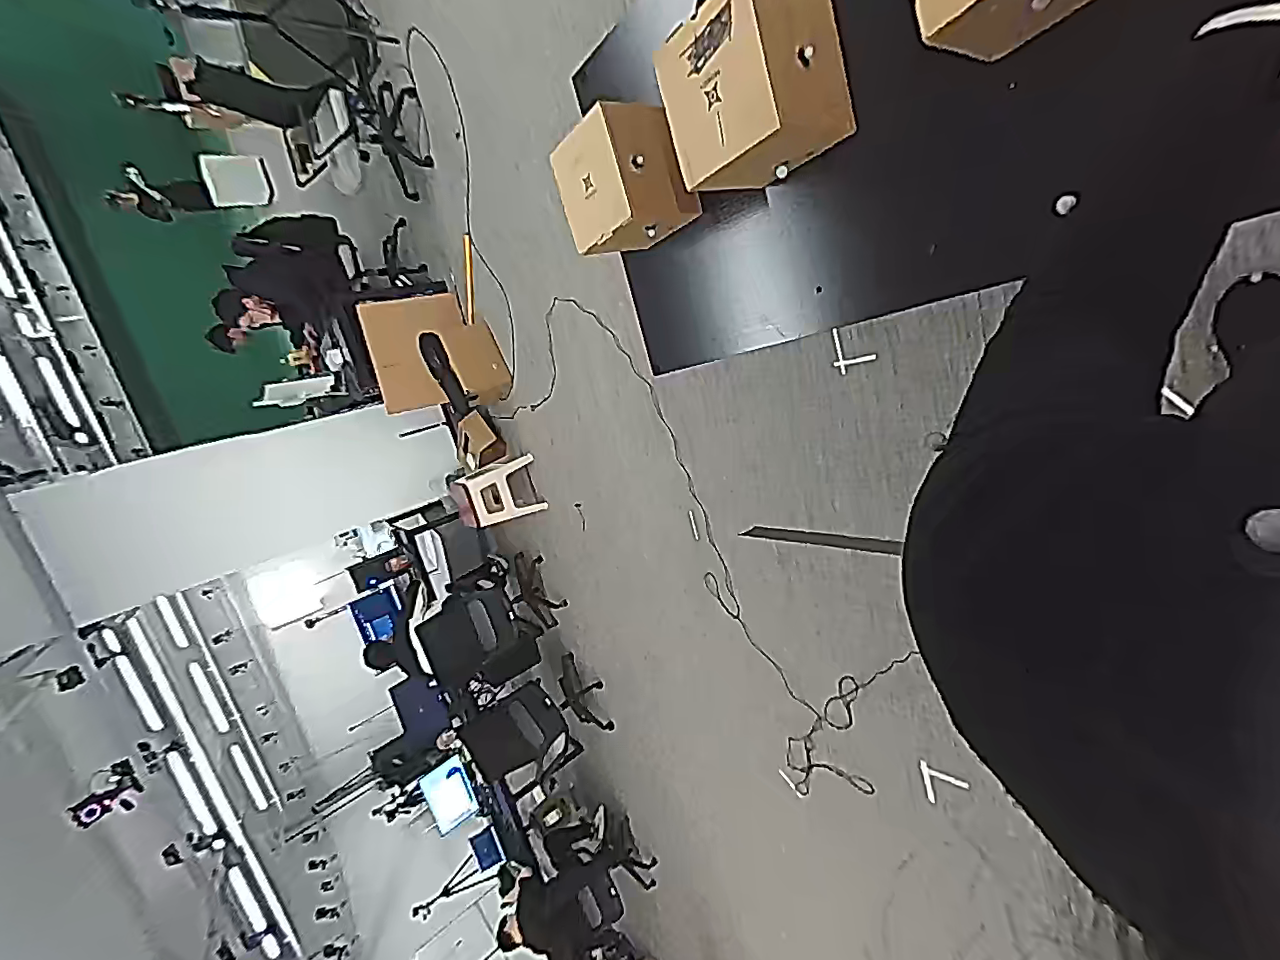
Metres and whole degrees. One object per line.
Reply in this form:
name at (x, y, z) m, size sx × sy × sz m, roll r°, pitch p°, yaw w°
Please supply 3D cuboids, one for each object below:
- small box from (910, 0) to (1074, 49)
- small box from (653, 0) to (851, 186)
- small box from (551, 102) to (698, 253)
small box at (0.341, -0.509, 0.456) m, size 0.179 × 0.176 × 0.168 m, roll -8°, pitch 103°, yaw 55°
small box at (0.149, -0.512, 0.711) m, size 0.168 × 0.176 × 0.179 m, roll -2°, pitch 108°, yaw 54°
small box at (-0.023, -0.518, 0.941) m, size 0.168 × 0.176 × 0.179 m, roll -4°, pitch 105°, yaw 53°
